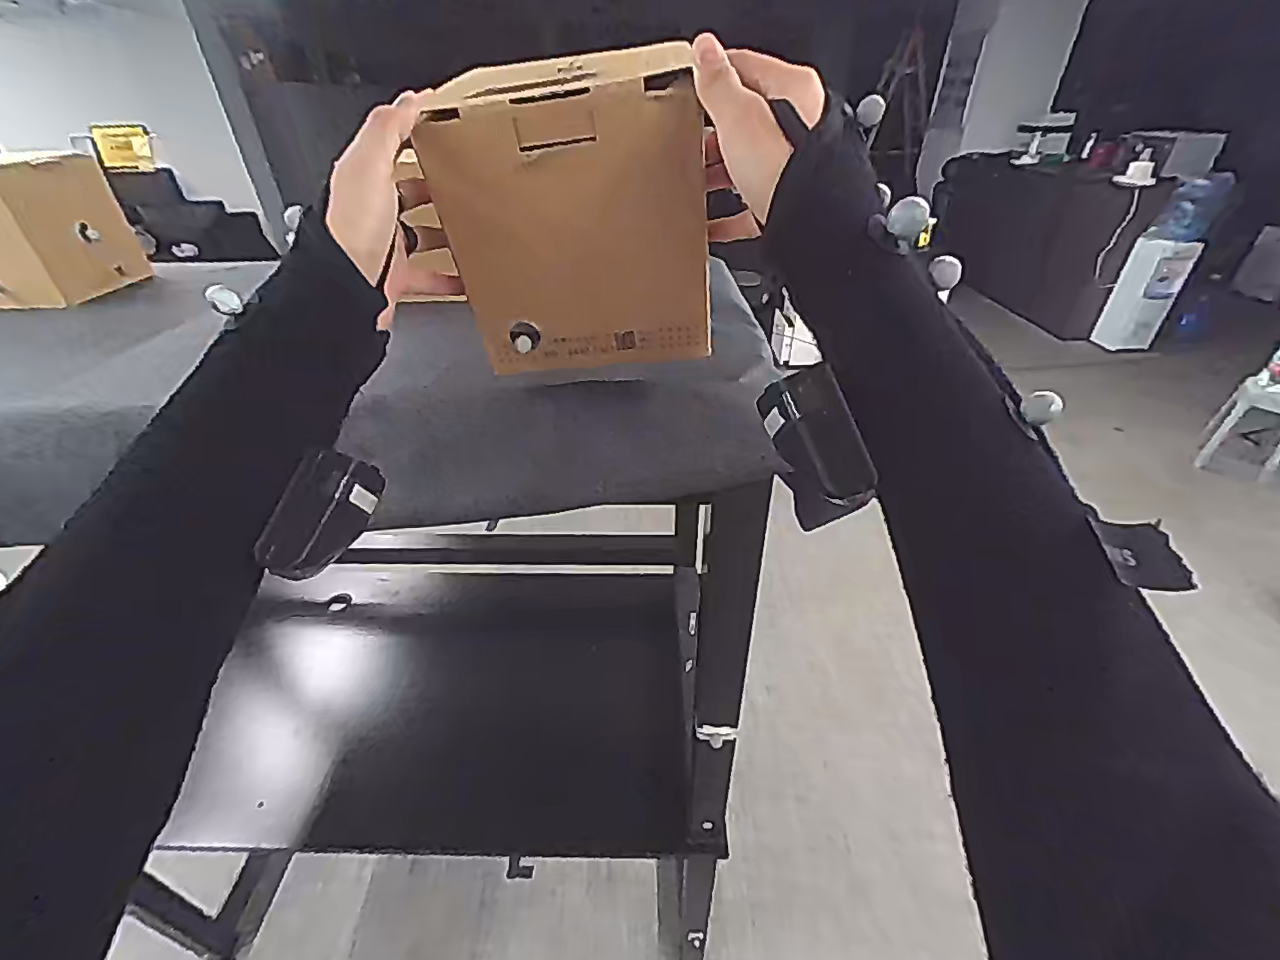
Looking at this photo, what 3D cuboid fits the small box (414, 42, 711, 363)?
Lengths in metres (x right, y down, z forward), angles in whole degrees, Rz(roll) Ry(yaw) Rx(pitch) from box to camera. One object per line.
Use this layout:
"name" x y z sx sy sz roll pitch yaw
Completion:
"small box" -0.036 -0.200 0.407 0.168 0.176 0.179 -4 44 5

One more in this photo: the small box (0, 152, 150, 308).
"small box" -0.846 -0.341 0.741 0.179 0.176 0.168 -1 36 -1

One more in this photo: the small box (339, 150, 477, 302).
"small box" -0.269 -0.350 0.742 0.168 0.176 0.179 -1 36 1
